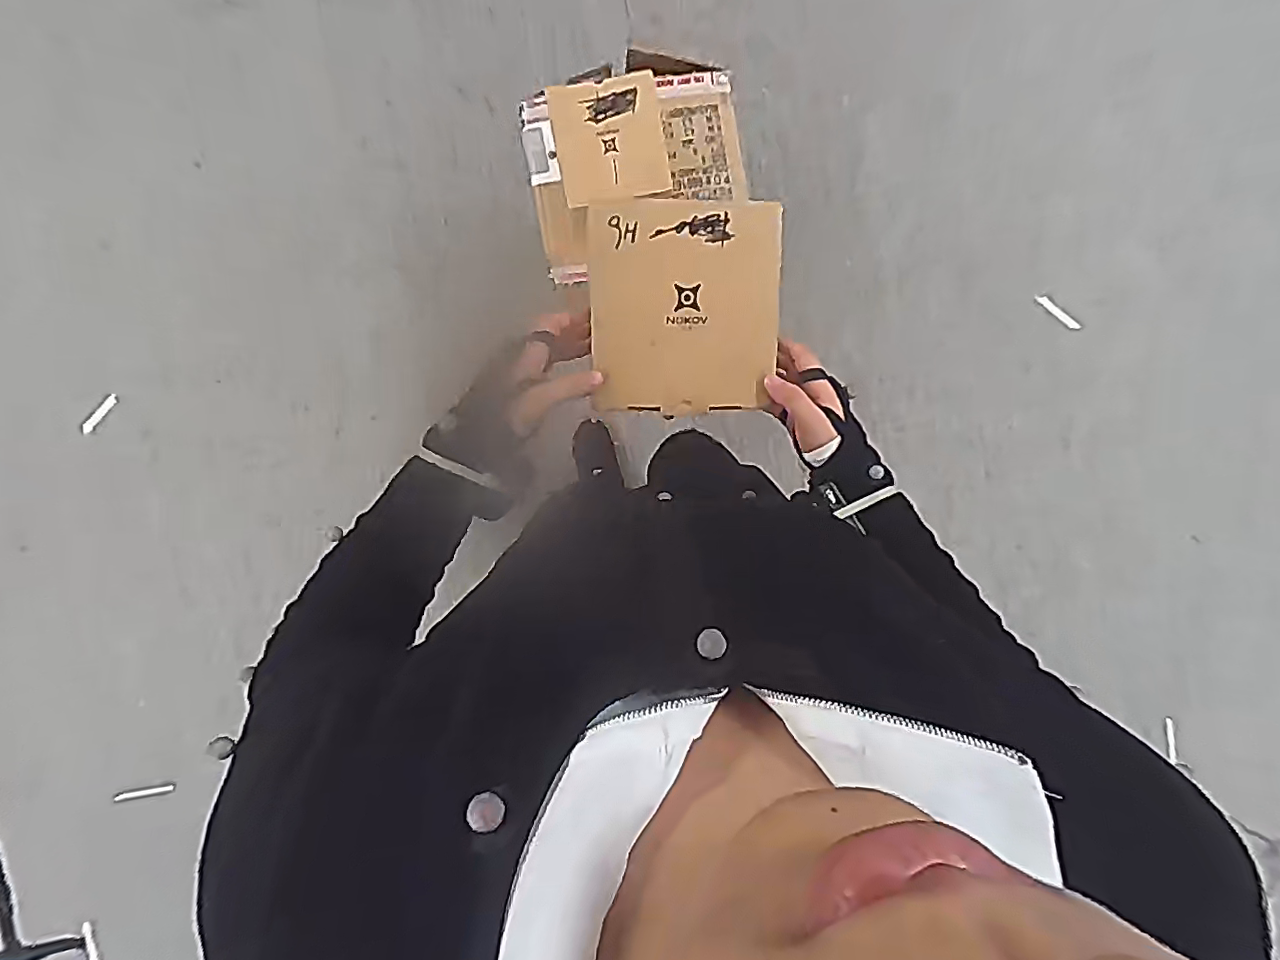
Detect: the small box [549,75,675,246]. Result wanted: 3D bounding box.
[{"bbox_3d":[-0.046,-0.510,0.886,0.168,0.176,0.179,-11,97,-2],"label":"small box"}]
